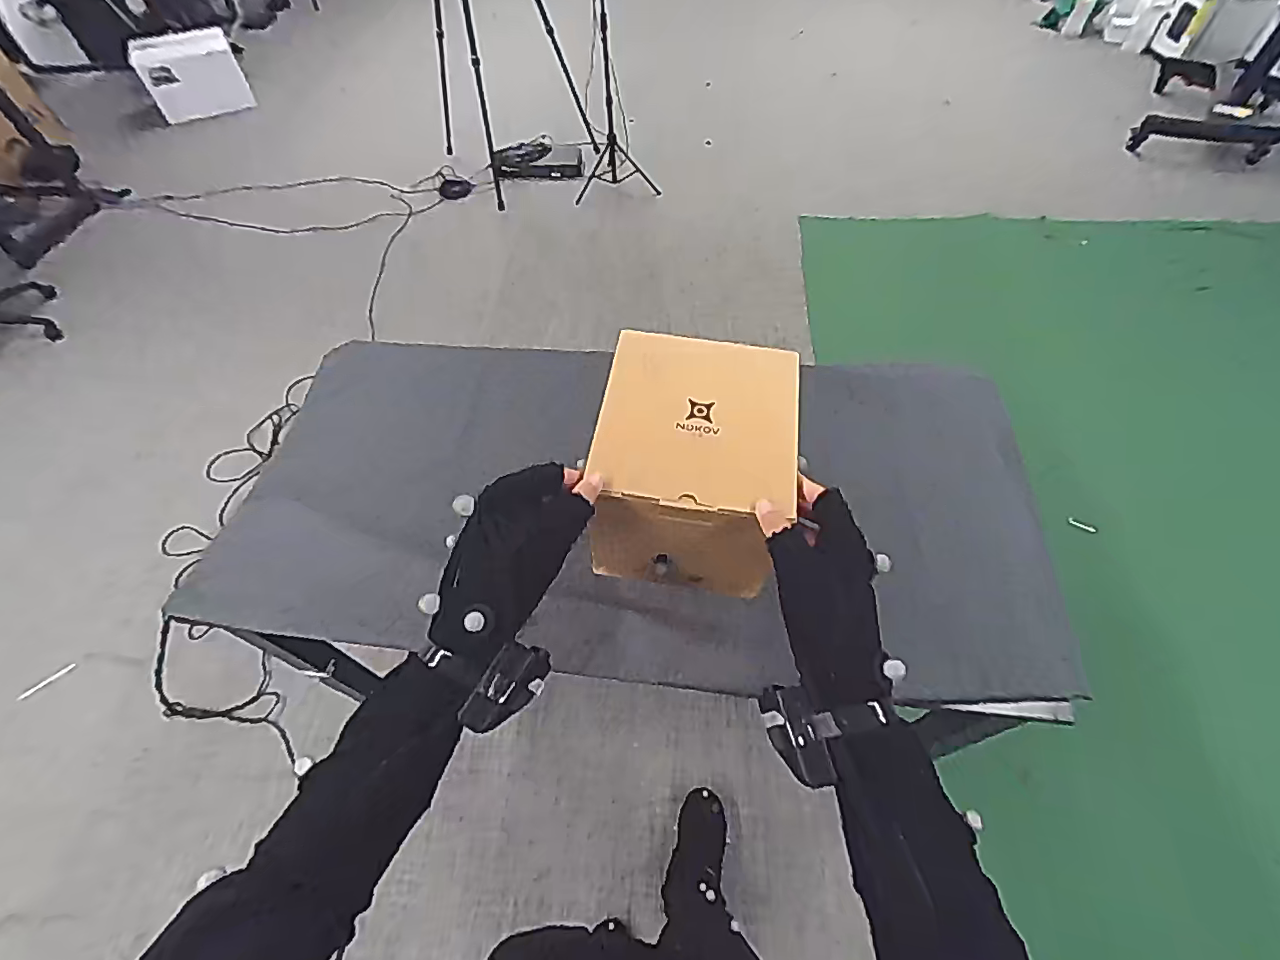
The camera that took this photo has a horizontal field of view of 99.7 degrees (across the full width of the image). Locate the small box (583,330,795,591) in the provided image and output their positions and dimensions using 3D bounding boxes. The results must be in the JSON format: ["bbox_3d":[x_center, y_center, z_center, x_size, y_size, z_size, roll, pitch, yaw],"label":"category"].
[{"bbox_3d":[0.045,-0.013,0.523,0.168,0.176,0.179,9,59,4],"label":"small box"}]
